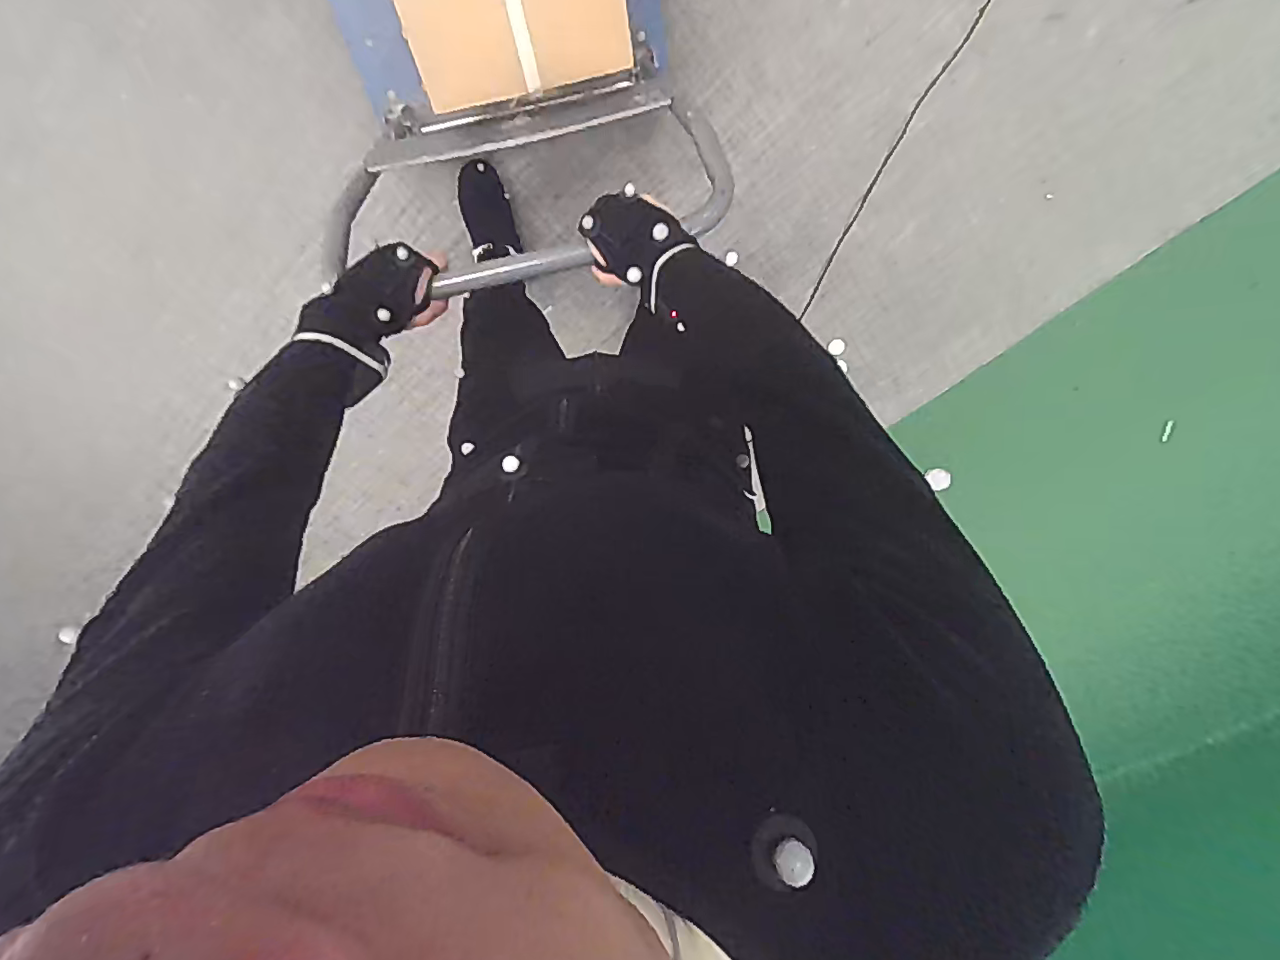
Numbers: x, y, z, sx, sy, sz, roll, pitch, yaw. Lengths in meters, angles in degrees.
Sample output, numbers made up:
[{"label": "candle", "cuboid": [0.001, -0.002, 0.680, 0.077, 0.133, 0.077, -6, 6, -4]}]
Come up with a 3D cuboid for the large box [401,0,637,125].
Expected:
[{"label": "large box", "cuboid": [-0.206, -0.827, 0.818, 0.320, 0.320, 0.408, -13, 133, 1]}]
